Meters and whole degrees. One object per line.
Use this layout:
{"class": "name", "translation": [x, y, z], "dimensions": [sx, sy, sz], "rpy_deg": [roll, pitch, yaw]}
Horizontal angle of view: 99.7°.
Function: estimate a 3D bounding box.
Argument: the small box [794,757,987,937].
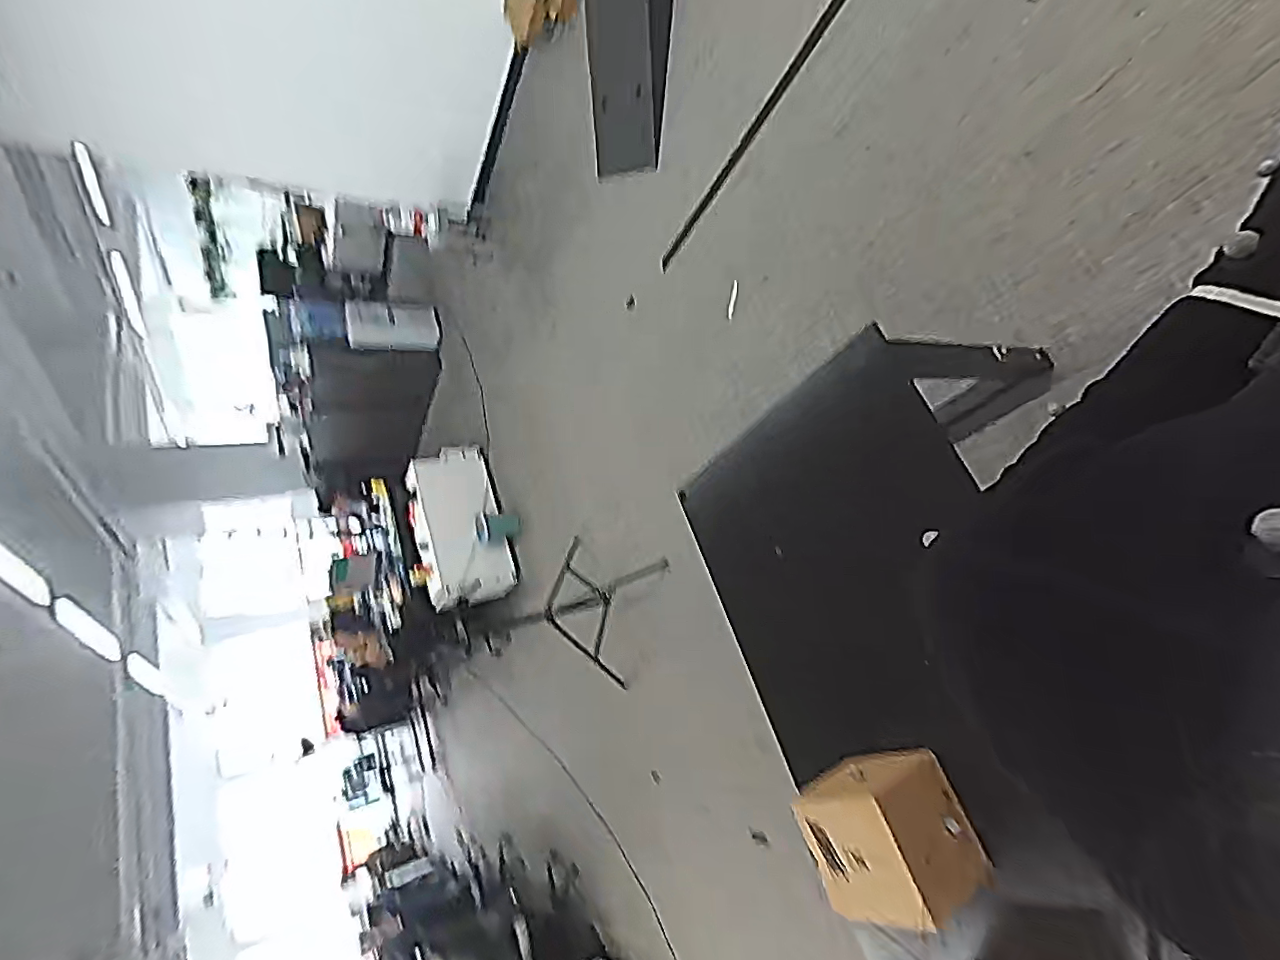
{"class": "small box", "translation": [0.380, 0.548, 0.830], "dimensions": [0.179, 0.176, 0.168], "rpy_deg": [-46, 59, 48]}
